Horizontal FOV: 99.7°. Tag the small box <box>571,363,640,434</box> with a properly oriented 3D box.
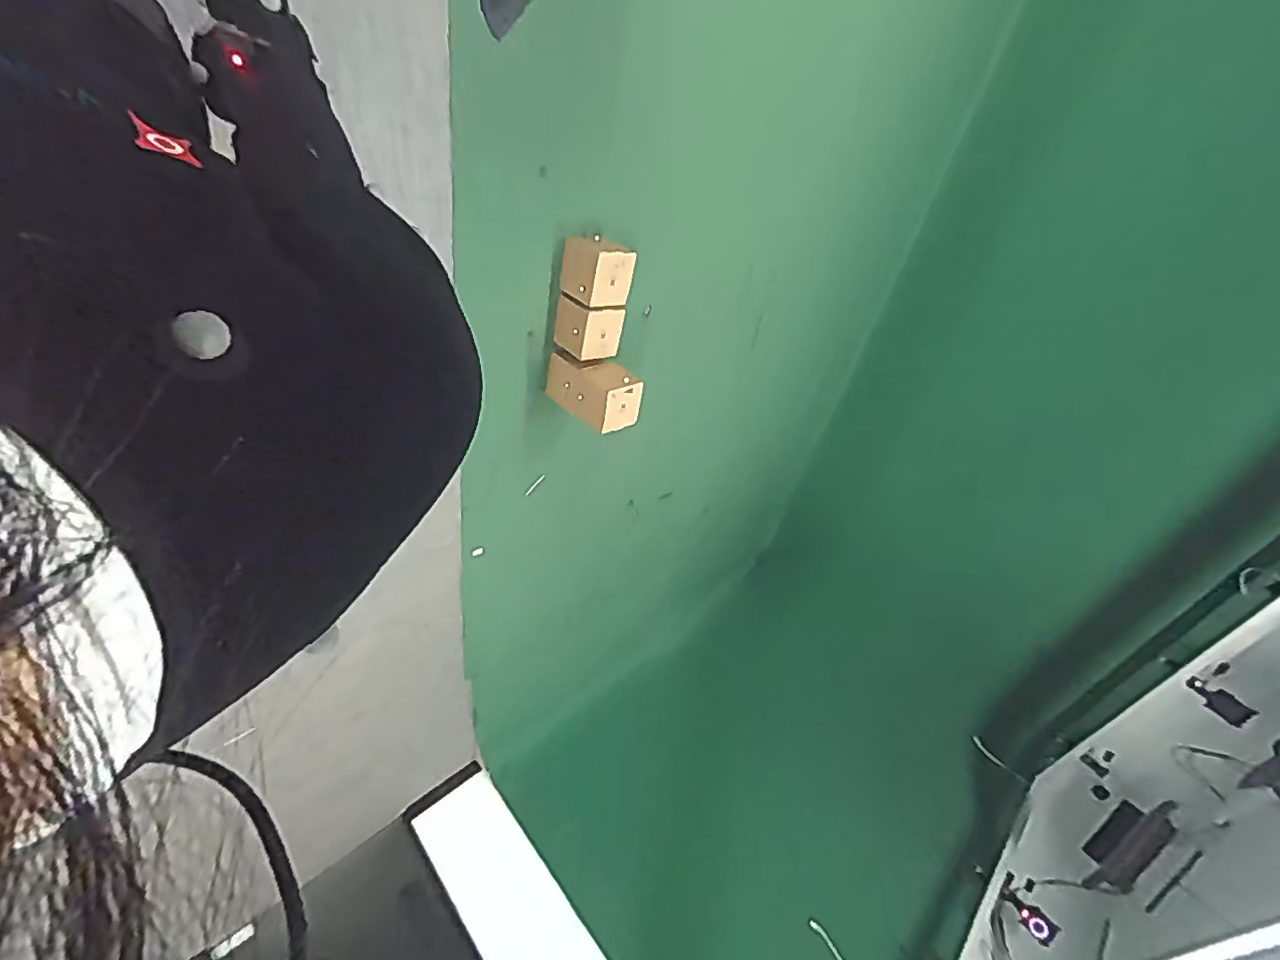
[{"bbox_3d":[-0.128,-0.293,1.929,0.168,0.176,0.179,-23,140,-39],"label":"small box"}]
